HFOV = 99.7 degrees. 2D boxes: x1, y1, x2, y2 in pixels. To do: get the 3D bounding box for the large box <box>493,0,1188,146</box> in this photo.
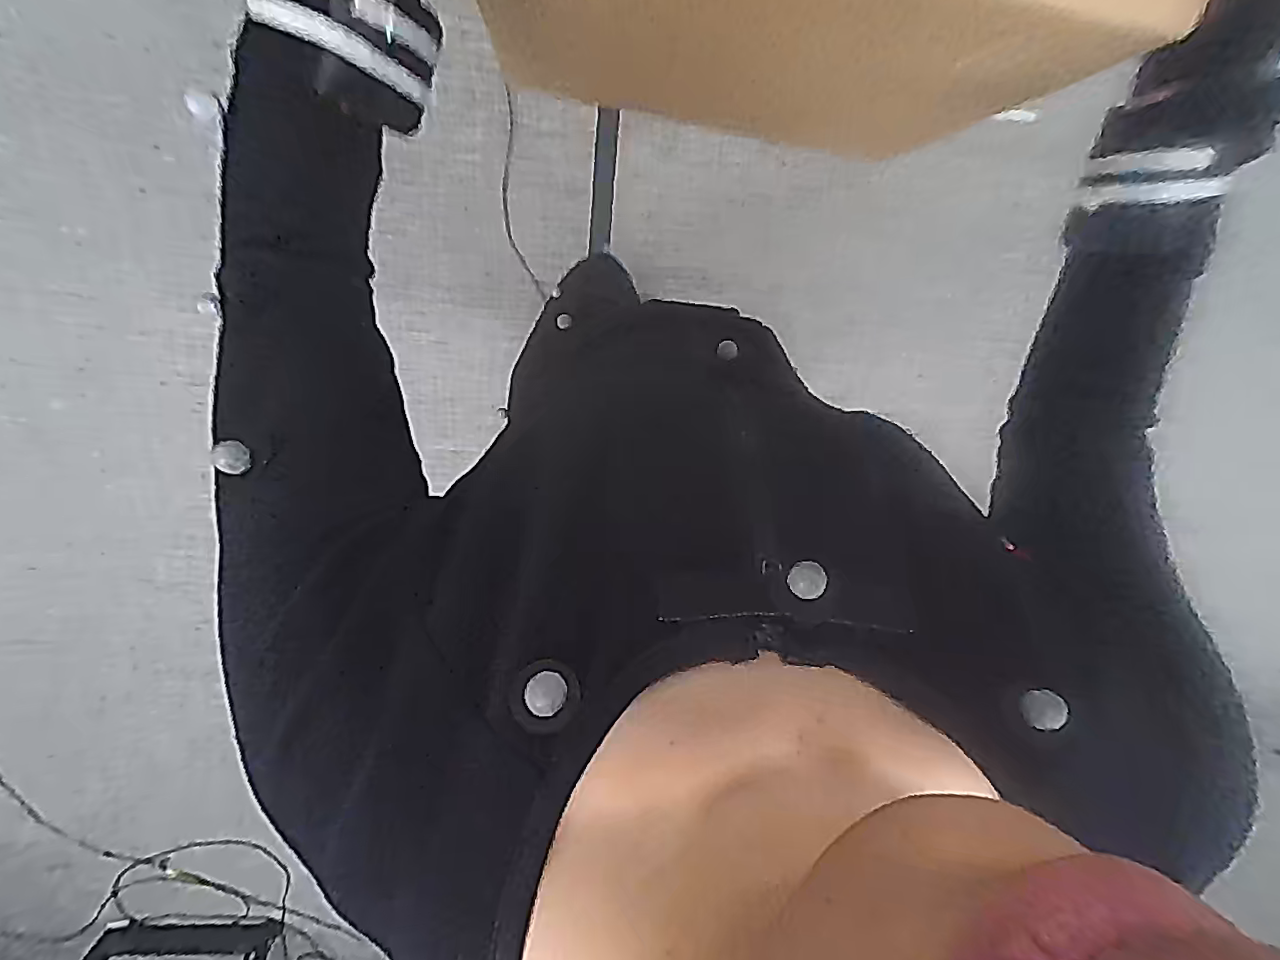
[{"bbox_3d":[0.106,-0.463,0.360,0.408,0.320,0.320,5,109,-9],"label":"large box"}]
